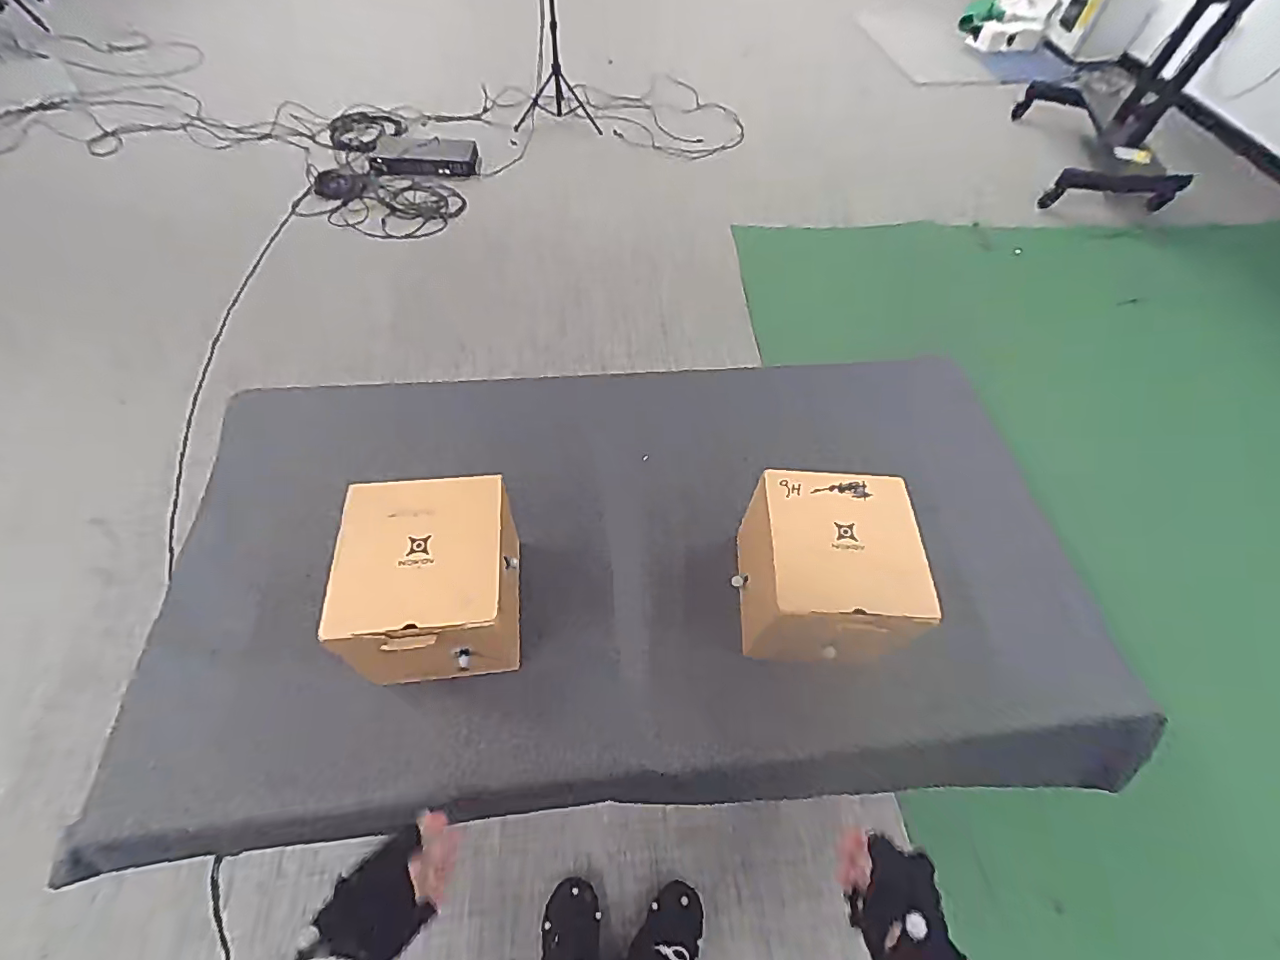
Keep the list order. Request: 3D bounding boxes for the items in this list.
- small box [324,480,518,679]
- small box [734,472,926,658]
[{"bbox_3d":[-0.235,0.123,0.632,0.168,0.176,0.179,-4,55,-8],"label":"small box"},{"bbox_3d":[0.212,0.110,0.660,0.168,0.176,0.179,3,57,-1],"label":"small box"}]
